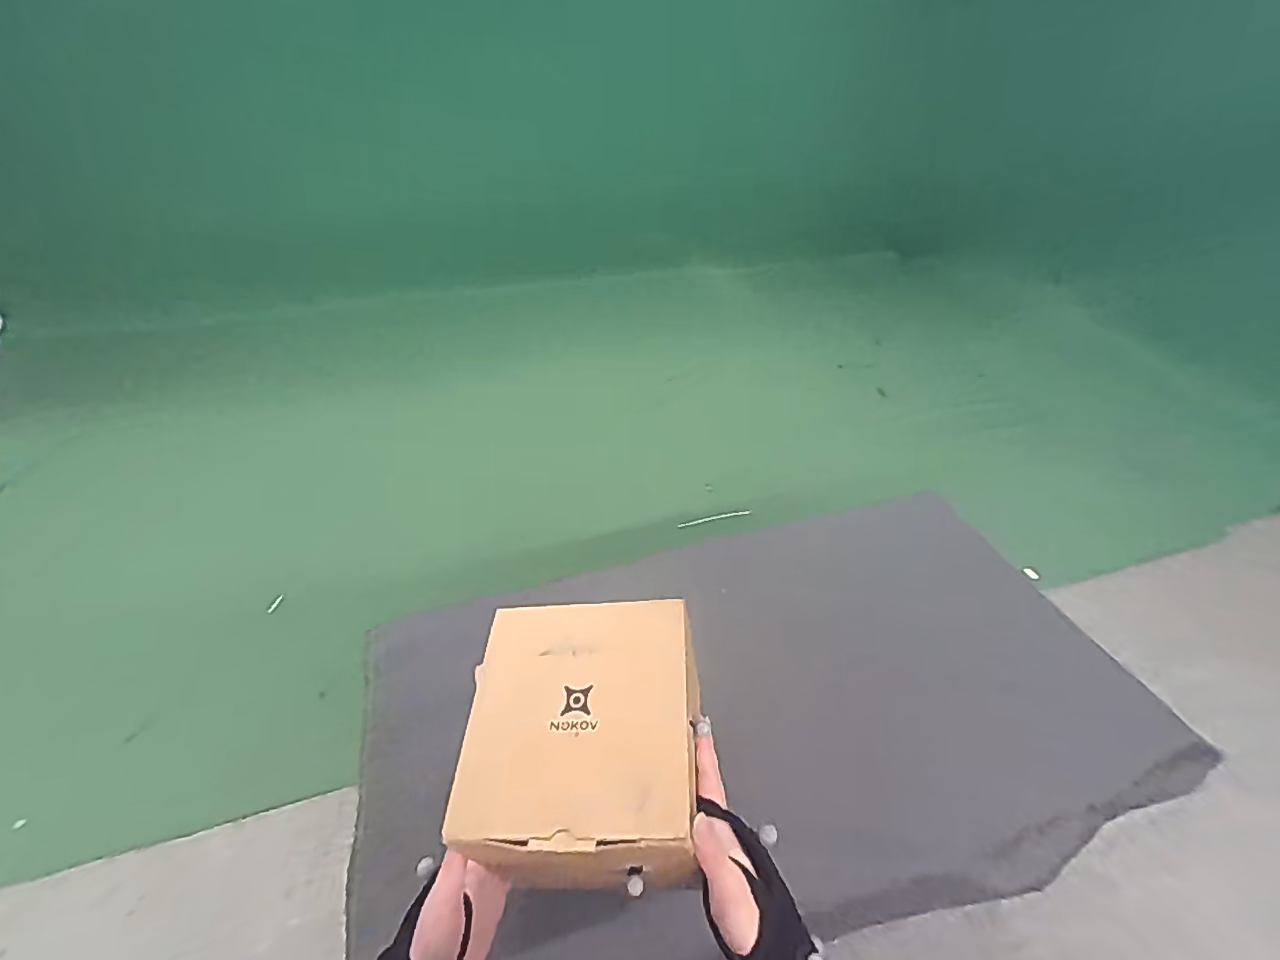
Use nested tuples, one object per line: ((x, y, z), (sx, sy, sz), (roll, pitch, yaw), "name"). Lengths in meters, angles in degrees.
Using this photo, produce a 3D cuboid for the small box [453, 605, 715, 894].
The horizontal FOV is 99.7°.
((-0.028, 0.228, 0.453), (0.168, 0.176, 0.179), (-5, 44, 6), "small box")
